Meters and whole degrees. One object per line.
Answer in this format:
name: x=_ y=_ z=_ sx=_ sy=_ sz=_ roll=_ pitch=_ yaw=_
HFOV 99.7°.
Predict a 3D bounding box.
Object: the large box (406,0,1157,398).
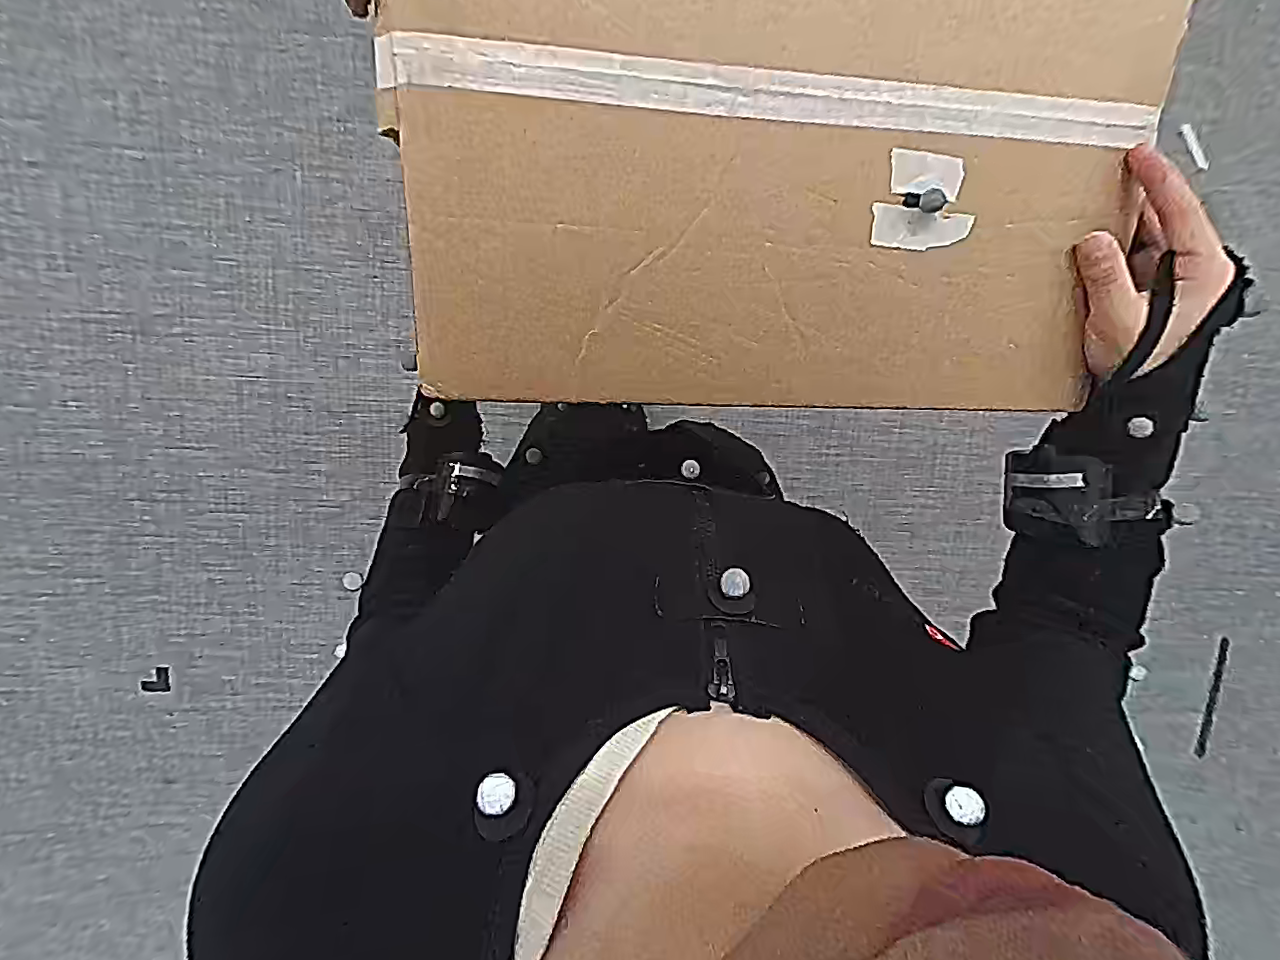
large box: x=0.062 y=-0.240 z=0.430 sx=0.408 sy=0.320 sz=0.320 roll=-1 pitch=107 yaw=-9
